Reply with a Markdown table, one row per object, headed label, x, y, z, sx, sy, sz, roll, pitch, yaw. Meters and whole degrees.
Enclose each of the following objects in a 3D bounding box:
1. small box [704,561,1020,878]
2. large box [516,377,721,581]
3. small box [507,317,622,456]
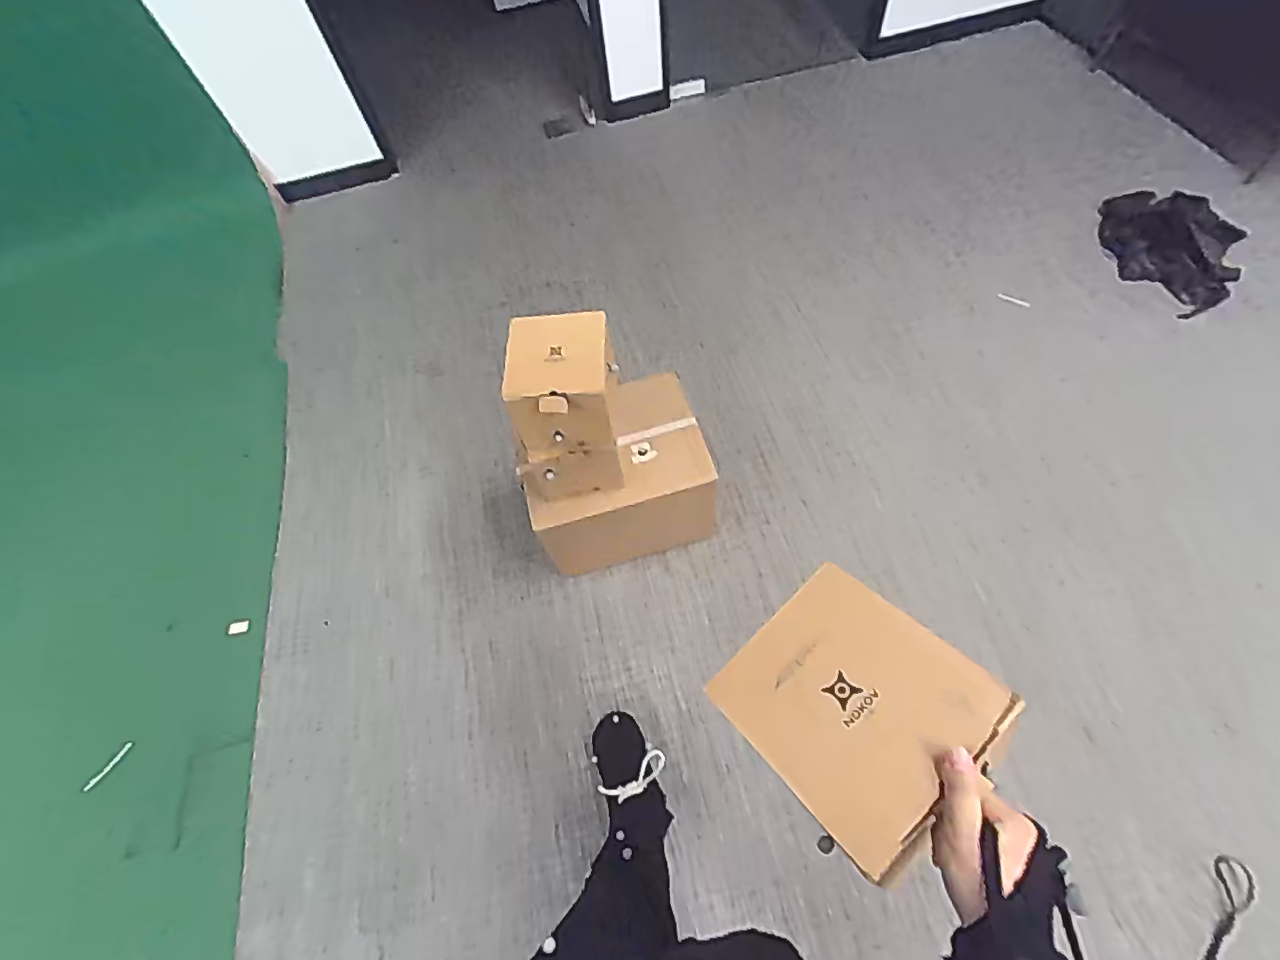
| label | x | y | z | sx | sy | sz | roll | pitch | yaw |
| --- | --- | --- | --- | --- | --- | --- | --- | --- | --- |
| small box | 0.193 | 0.212 | 0.480 | 0.168 | 0.176 | 0.179 | -43 | 45 | -9 |
| large box | -0.048 | 0.008 | 1.321 | 0.408 | 0.320 | 0.320 | -15 | 62 | -4 |
| small box | -0.124 | -0.160 | 0.954 | 0.168 | 0.176 | 0.179 | -3 | 61 | 3 |
